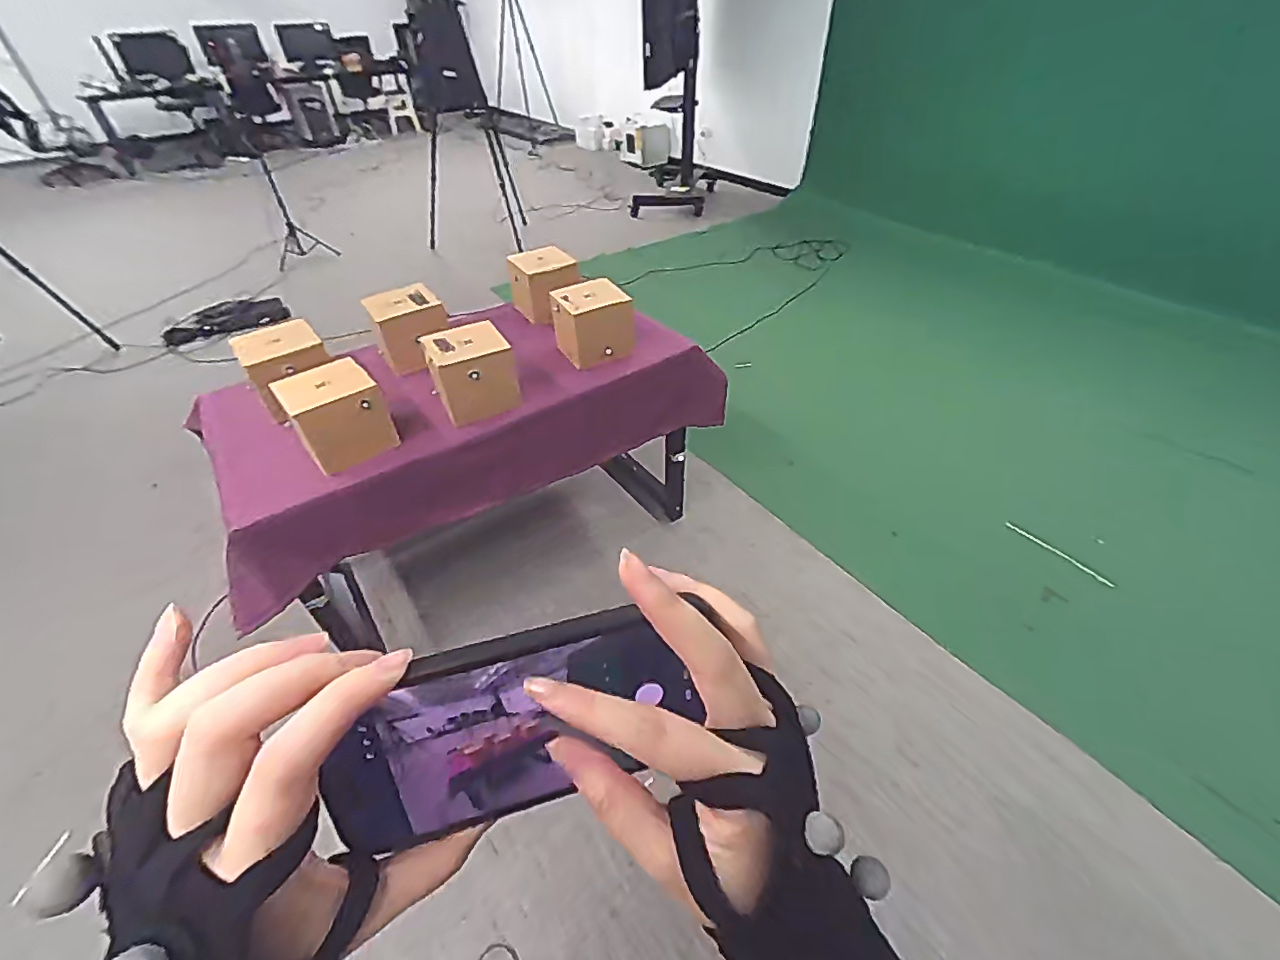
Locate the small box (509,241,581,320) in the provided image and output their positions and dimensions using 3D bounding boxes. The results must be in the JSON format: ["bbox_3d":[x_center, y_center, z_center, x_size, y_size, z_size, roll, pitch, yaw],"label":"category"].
[{"bbox_3d":[-0.293,-0.627,1.697,0.168,0.176,0.179,-24,49,-22],"label":"small box"}]

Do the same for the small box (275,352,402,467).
[{"bbox_3d":[-0.667,-0.156,1.210,0.179,0.176,0.168,-31,50,-29],"label":"small box"}]

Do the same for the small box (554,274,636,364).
[{"bbox_3d":[-0.124,-0.447,1.503,0.179,0.176,0.168,-21,46,-20],"label":"small box"}]

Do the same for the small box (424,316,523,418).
[{"bbox_3d":[-0.404,-0.277,1.330,0.179,0.176,0.168,-21,47,-21],"label":"small box"}]
